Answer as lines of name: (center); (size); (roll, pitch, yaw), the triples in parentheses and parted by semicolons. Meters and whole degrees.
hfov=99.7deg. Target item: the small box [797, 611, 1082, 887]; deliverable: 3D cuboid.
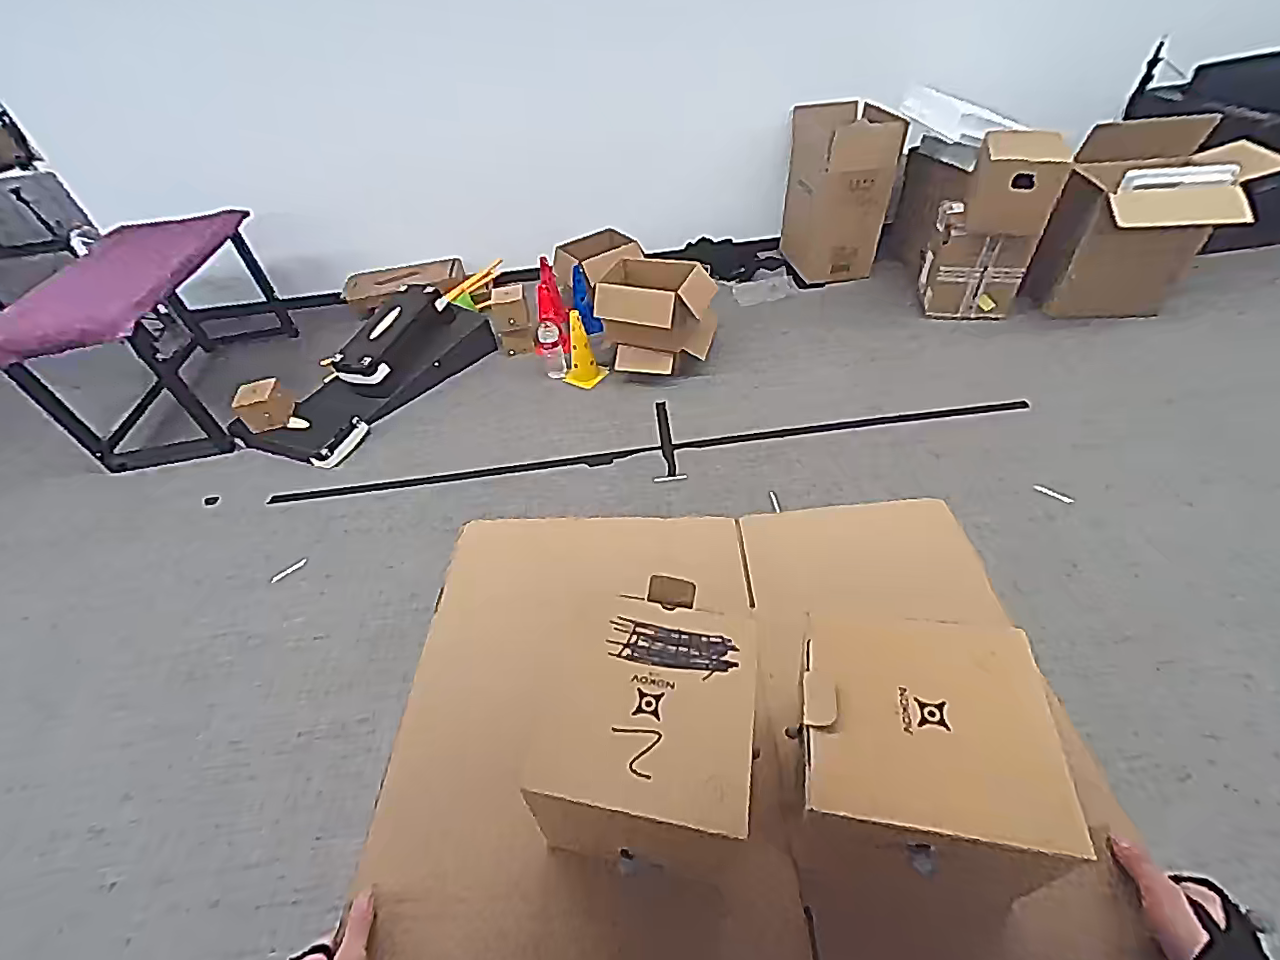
small box: (0.236, 0.239, 0.482); (0.179, 0.176, 0.168); (1, 46, 15)
